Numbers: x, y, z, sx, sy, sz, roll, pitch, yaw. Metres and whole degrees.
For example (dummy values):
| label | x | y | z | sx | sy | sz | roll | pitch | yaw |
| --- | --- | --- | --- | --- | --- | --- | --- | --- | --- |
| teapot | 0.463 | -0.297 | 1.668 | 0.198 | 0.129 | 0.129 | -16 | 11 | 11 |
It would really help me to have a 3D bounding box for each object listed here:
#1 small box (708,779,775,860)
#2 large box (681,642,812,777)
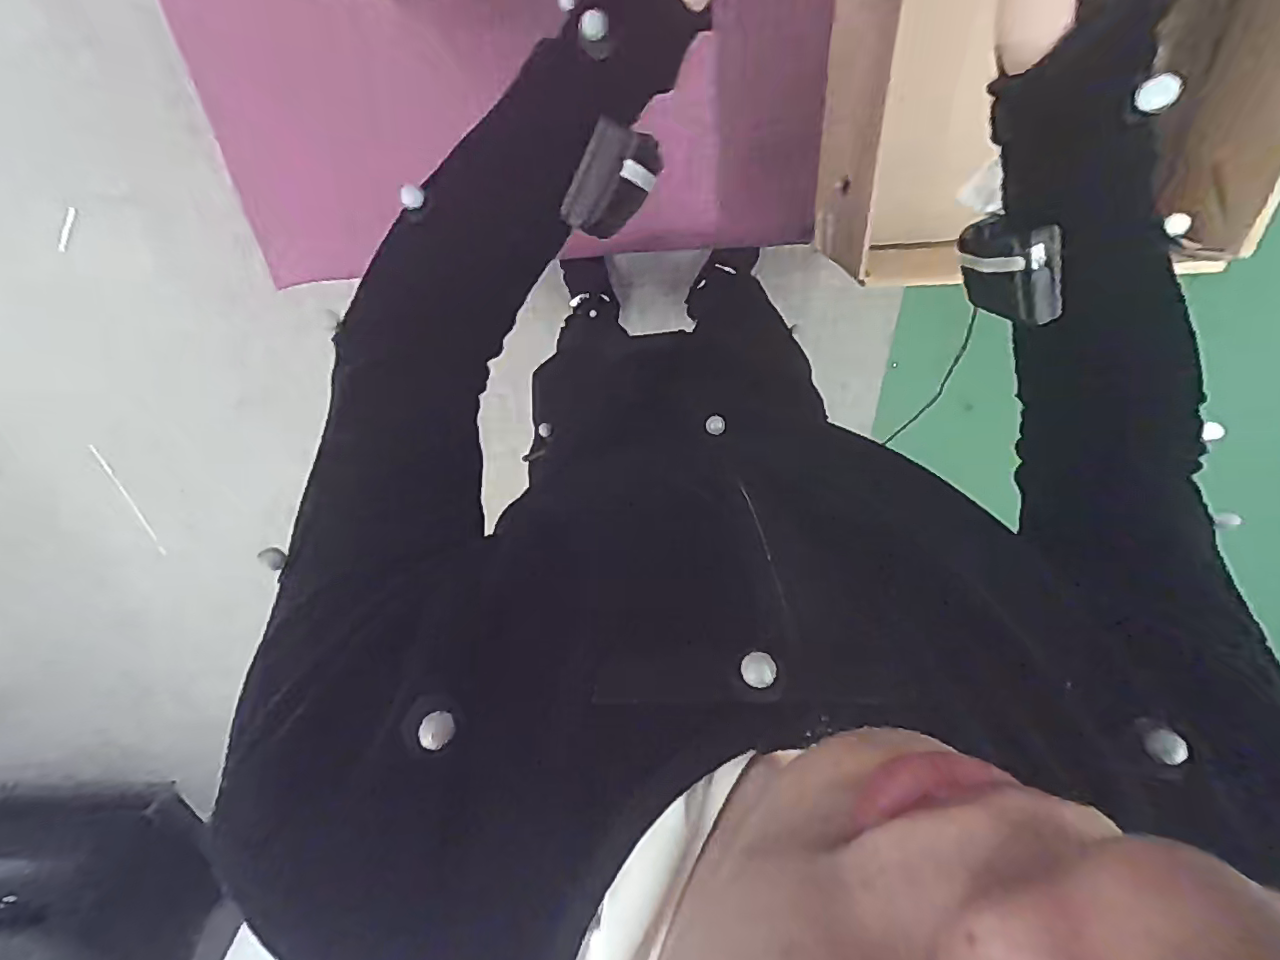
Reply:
| label | x | y | z | sx | sy | sz | roll | pitch | yaw |
| --- | --- | --- | --- | --- | --- | --- | --- | --- | --- |
| small box | 0.348 | 1.182 | 1.886 | 0.179 | 0.176 | 0.168 | -26 | 118 | 16 |
| large box | 0.420 | 0.938 | 2.217 | 0.408 | 0.320 | 0.320 | -31 | 118 | 18 |
